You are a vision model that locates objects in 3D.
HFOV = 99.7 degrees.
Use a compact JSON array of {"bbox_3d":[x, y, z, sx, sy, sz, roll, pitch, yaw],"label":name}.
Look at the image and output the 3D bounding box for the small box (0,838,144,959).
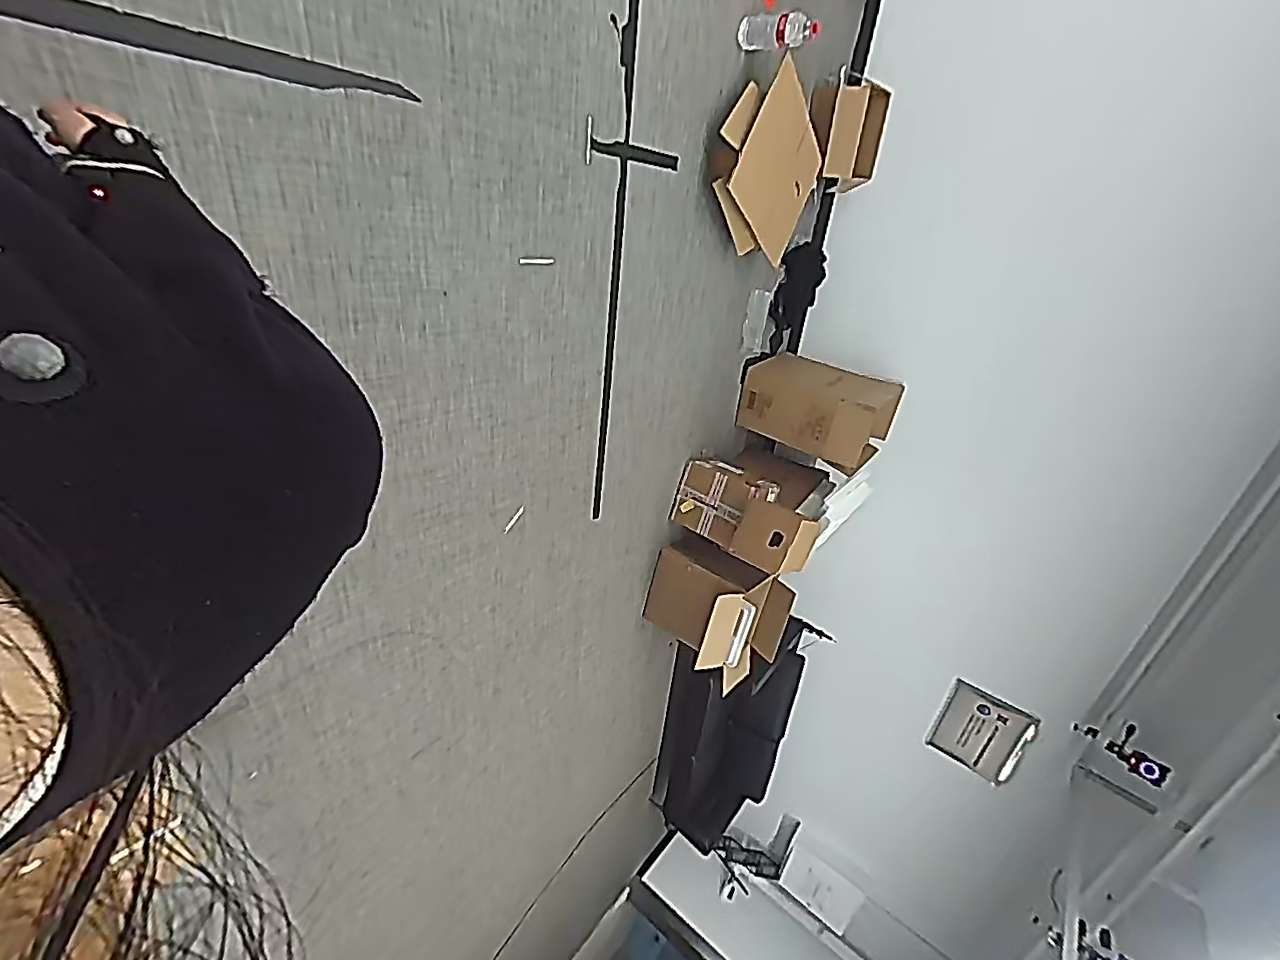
[{"bbox_3d":[-1.145,0.869,1.073,0.179,0.176,0.168,-26,130,-45],"label":"small box"}]
